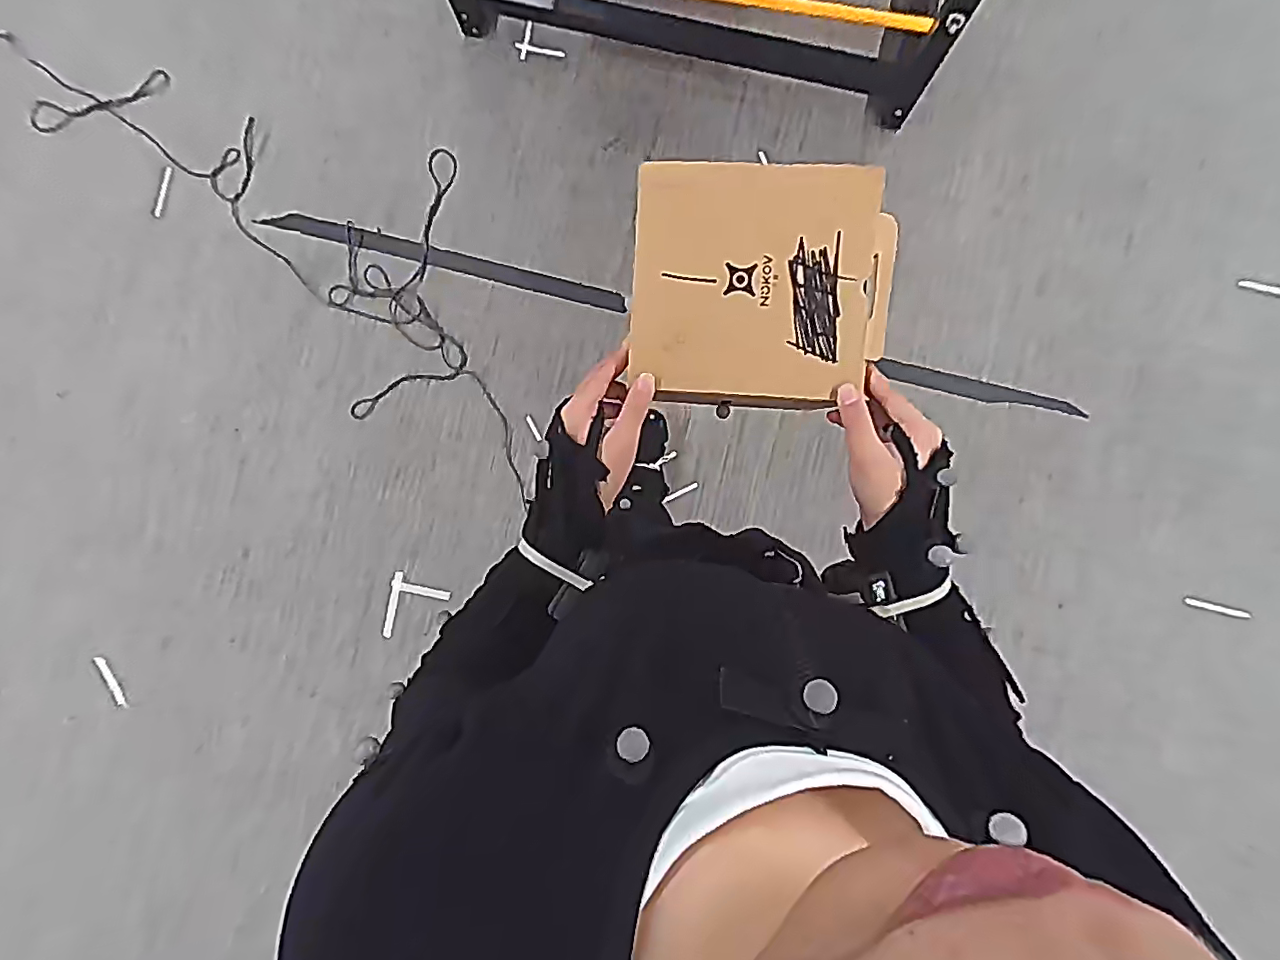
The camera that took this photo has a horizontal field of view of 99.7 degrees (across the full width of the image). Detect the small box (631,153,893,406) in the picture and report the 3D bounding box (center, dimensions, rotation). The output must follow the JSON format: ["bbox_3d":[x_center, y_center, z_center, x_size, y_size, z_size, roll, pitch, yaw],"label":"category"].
[{"bbox_3d":[0.090,-0.153,0.468,0.179,0.176,0.168,4,95,4],"label":"small box"}]
